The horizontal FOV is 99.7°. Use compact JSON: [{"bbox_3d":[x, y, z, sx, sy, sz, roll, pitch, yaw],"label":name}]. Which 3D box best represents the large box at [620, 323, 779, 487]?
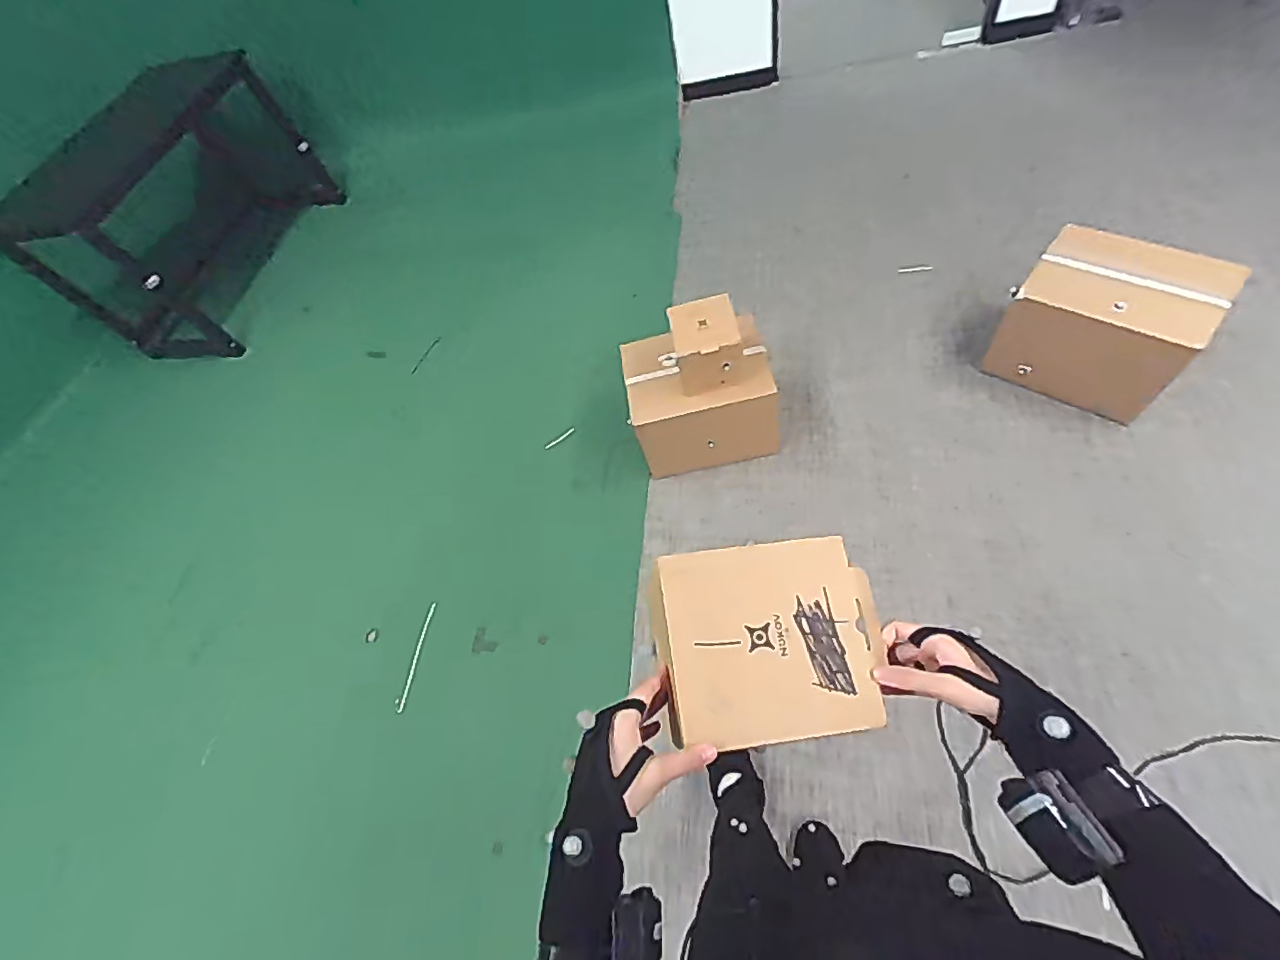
[{"bbox_3d":[0.186,-0.217,1.662,0.408,0.320,0.320,-14,57,8],"label":"large box"}]

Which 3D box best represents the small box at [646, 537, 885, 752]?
[{"bbox_3d":[0.105,0.161,0.538,0.179,0.176,0.168,-5,70,-5],"label":"small box"}]

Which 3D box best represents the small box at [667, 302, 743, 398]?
[{"bbox_3d":[0.176,-0.338,1.443,0.168,0.176,0.179,-12,58,7],"label":"small box"}]
